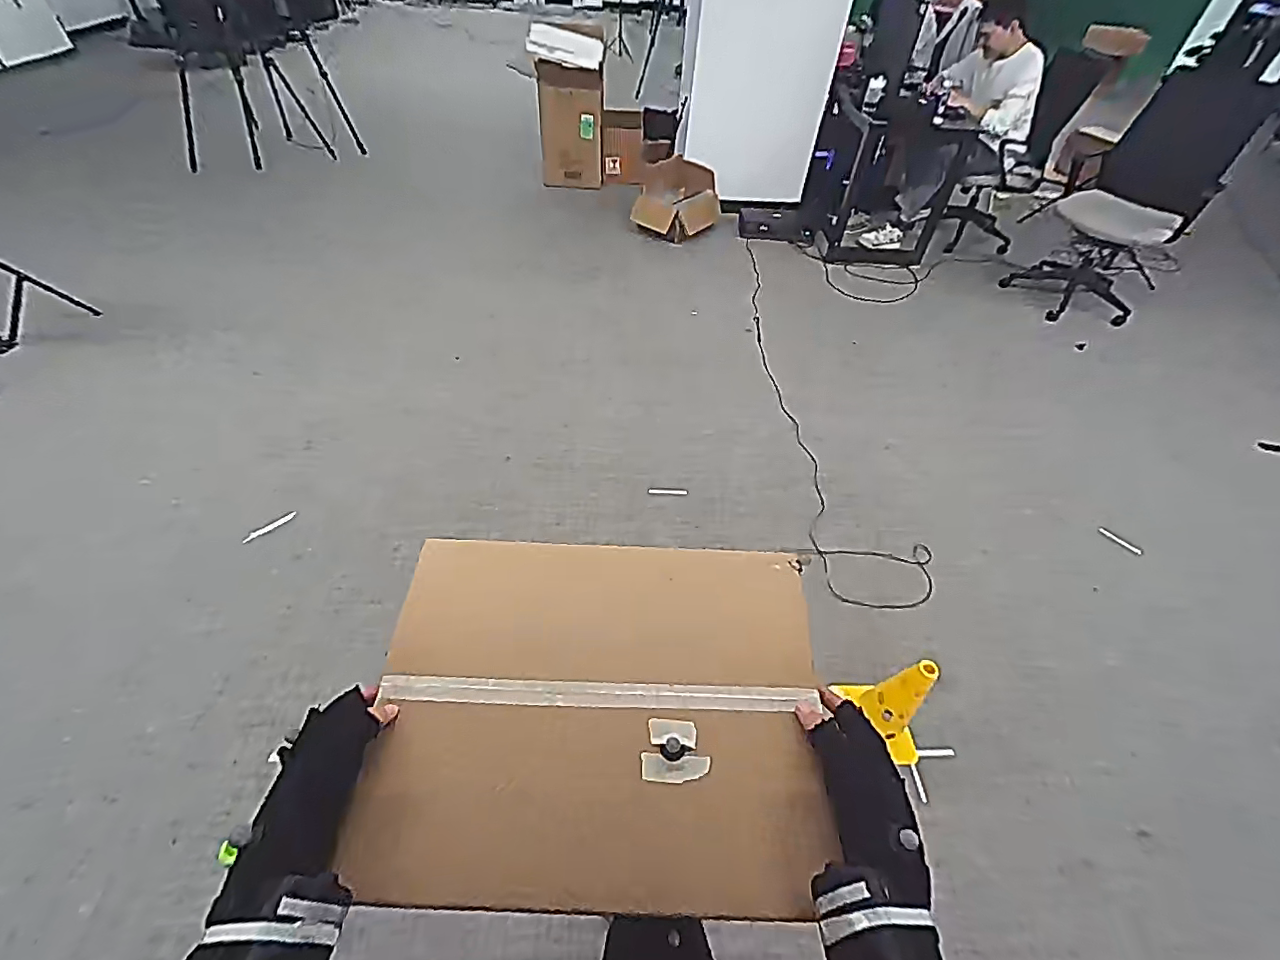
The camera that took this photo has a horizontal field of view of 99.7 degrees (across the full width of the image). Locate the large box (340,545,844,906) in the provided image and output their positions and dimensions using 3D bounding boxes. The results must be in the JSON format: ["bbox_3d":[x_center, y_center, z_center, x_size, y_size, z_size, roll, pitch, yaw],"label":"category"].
[{"bbox_3d":[-0.039,0.290,0.627,0.408,0.320,0.320,3,54,0],"label":"large box"}]

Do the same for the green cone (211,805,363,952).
[{"bbox_3d":[-0.693,0.732,1.036,0.202,0.368,0.200,-29,55,-25],"label":"green cone"}]
